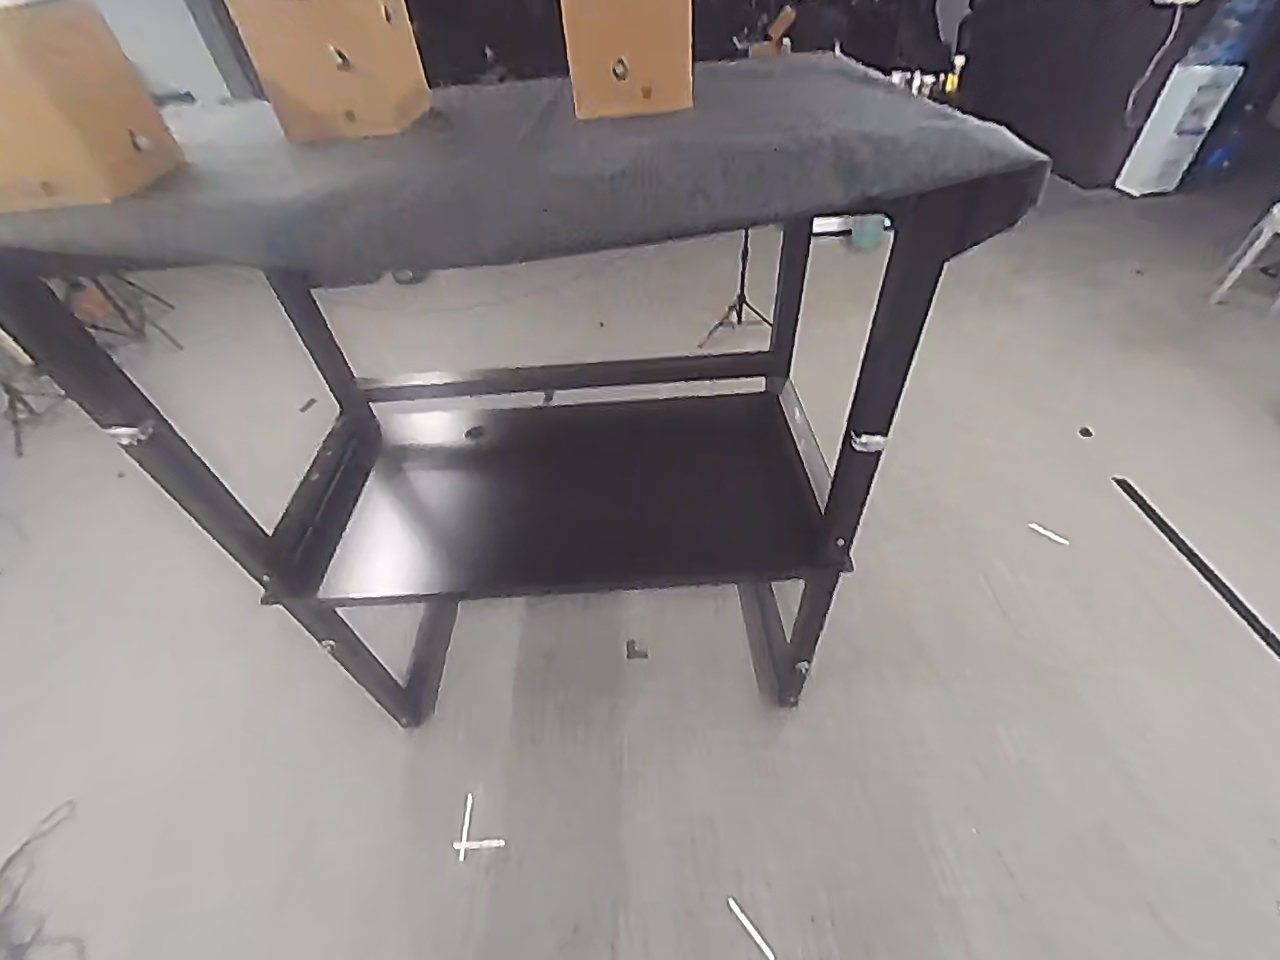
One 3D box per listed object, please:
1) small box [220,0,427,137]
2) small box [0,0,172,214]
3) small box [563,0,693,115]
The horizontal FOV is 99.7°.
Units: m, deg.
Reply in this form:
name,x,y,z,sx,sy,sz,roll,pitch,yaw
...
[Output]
name,x,y,z,sx,sy,sz,roll,pitch,yaw
small box,-0.421,-0.596,0.757,0.168,0.176,0.179,-1,46,2
small box,-0.673,-0.407,0.589,0.168,0.176,0.179,-9,46,-4
small box,-0.016,-0.628,0.753,0.168,0.176,0.179,-4,46,2
